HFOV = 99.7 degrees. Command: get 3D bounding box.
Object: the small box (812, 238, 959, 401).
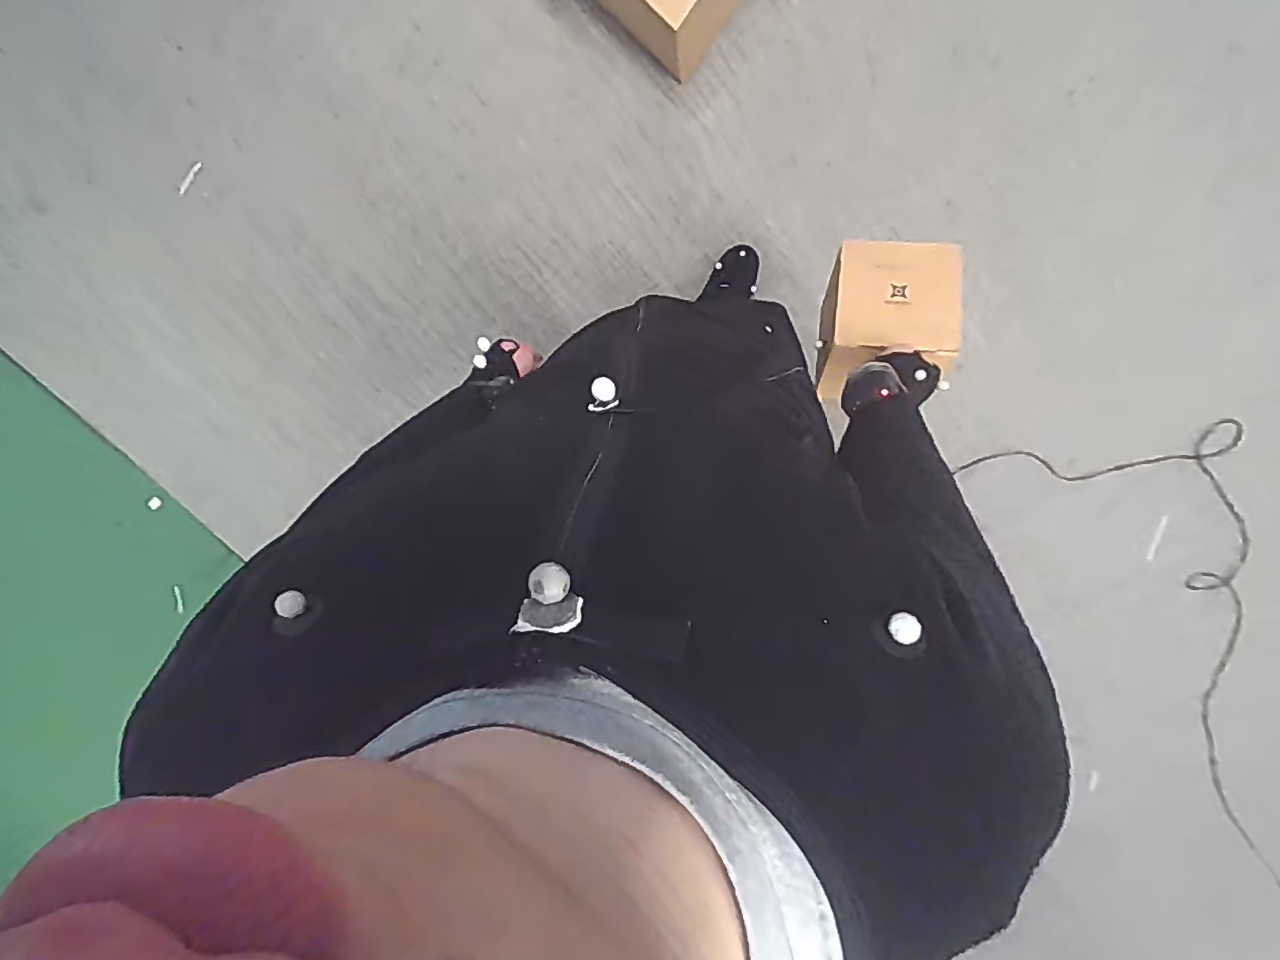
[{"bbox_3d":[0.367,-0.238,0.832,0.168,0.176,0.179,8,73,8],"label":"small box"}]
